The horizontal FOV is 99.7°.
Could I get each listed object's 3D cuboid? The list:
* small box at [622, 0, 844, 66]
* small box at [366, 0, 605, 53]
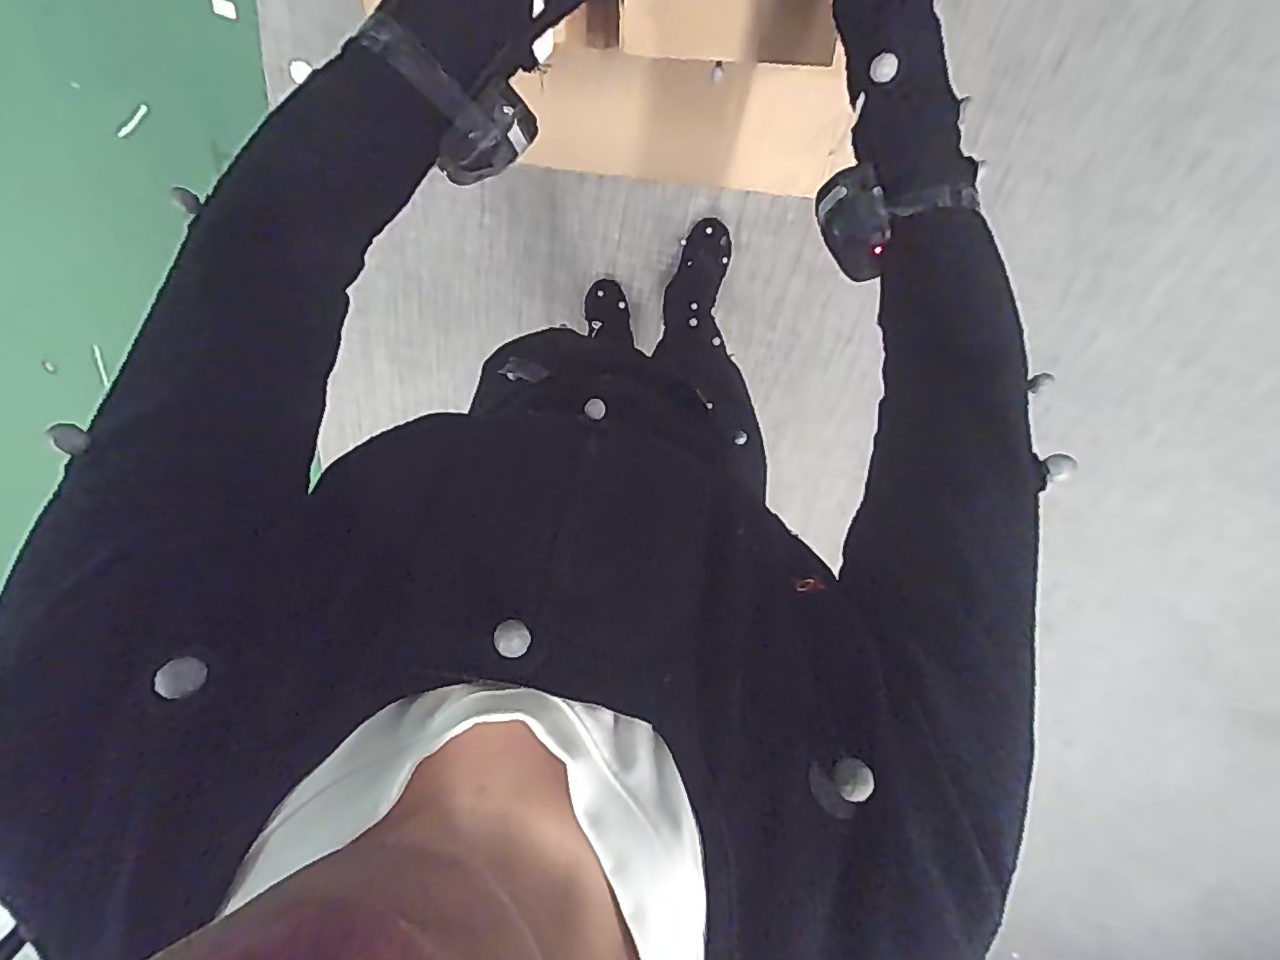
[{"bbox_3d":[0.084,-0.461,0.460,0.179,0.176,0.168,5,128,4],"label":"small box"},{"bbox_3d":[-0.129,-0.488,0.474,0.179,0.176,0.168,7,127,3],"label":"small box"}]
